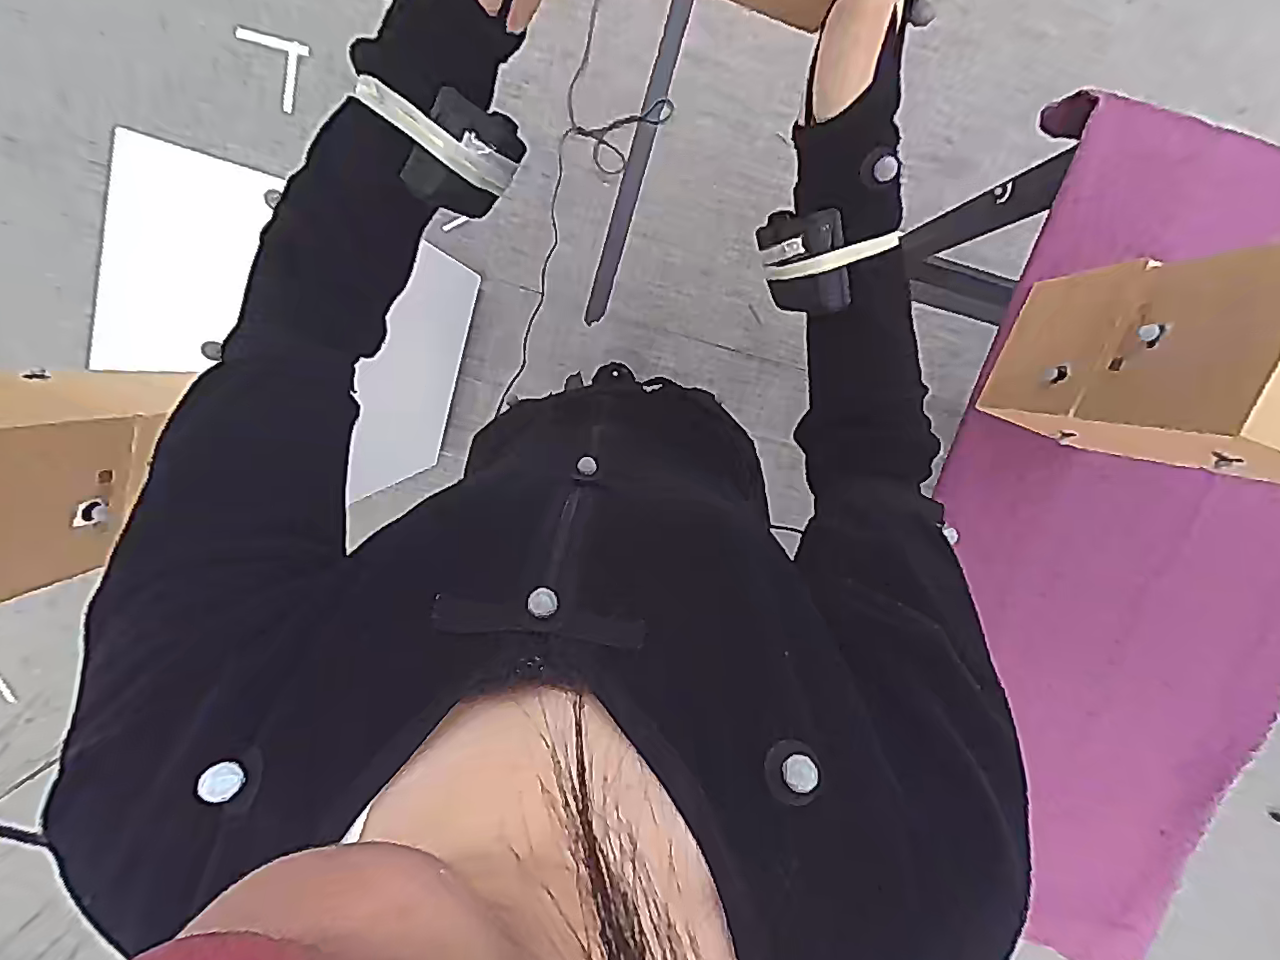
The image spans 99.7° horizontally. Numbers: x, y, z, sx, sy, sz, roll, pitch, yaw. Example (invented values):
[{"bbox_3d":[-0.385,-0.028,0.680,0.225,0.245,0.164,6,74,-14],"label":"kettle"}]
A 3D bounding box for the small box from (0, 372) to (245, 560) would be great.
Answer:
[{"bbox_3d":[-0.614,-0.028,0.637,0.179,0.176,0.168,16,100,-3],"label":"small box"}]

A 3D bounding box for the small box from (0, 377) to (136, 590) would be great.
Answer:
[{"bbox_3d":[-0.614,0.001,0.477,0.179,0.176,0.168,15,101,-4],"label":"small box"}]

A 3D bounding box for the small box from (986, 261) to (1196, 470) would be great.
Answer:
[{"bbox_3d":[0.563,-0.133,0.649,0.168,0.176,0.179,20,100,-4],"label":"small box"}]

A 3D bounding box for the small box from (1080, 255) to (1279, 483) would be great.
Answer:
[{"bbox_3d":[0.571,-0.095,0.489,0.179,0.176,0.168,19,100,-3],"label":"small box"}]
